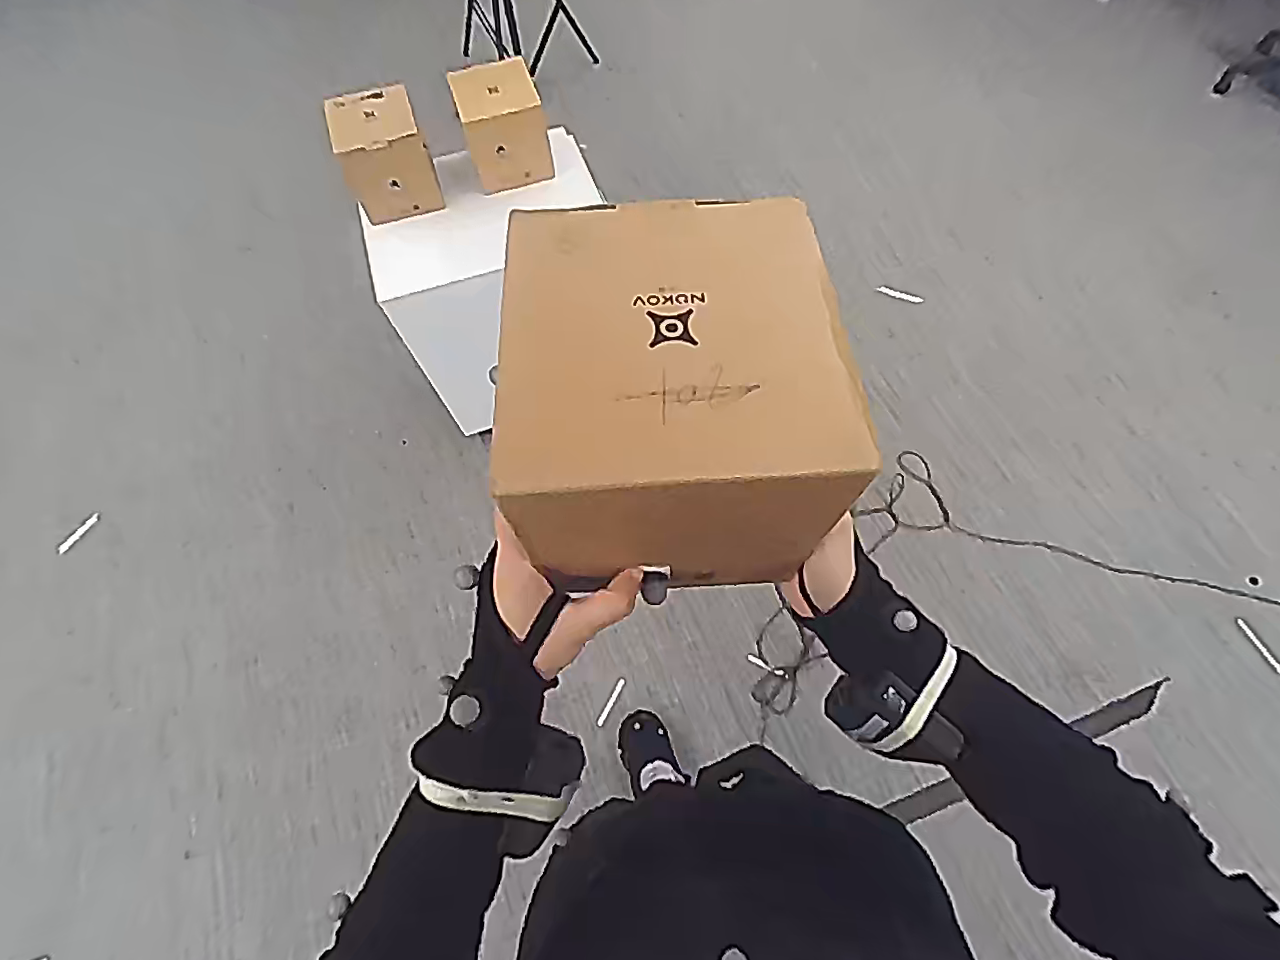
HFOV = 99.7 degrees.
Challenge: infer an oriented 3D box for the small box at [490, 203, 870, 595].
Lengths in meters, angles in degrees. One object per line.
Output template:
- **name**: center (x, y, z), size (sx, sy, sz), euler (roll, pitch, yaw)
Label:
- **small box**: center (0.013, -0.039, 0.338), size (0.168, 0.176, 0.179), euler (-4, 64, -1)

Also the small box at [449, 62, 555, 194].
- **small box**: center (-0.296, -0.759, 1.185), size (0.168, 0.176, 0.179), euler (-18, 67, -6)

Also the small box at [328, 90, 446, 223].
- **small box**: center (-0.531, -0.677, 1.153), size (0.168, 0.176, 0.179), euler (-18, 68, -8)
